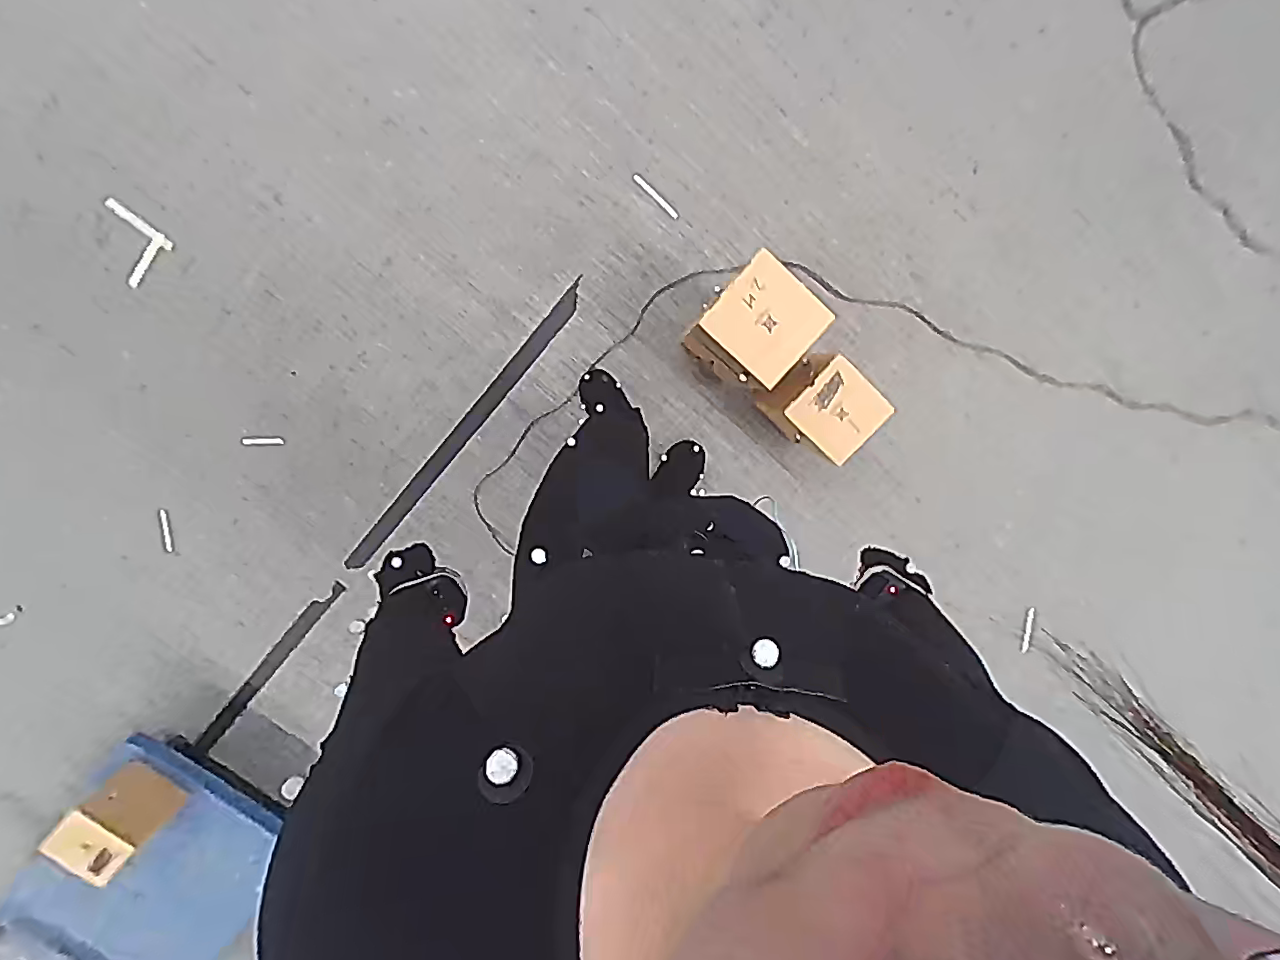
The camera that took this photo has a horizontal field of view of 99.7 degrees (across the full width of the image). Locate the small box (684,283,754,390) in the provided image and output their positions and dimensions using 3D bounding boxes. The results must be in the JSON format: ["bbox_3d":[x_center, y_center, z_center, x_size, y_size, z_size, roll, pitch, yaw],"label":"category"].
[{"bbox_3d":[0.214,-0.318,1.168,0.179,0.176,0.168,40,99,-8],"label":"small box"}]

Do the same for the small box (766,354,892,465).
[{"bbox_3d":[0.410,-0.160,1.205,0.179,0.176,0.168,41,99,-10],"label":"small box"}]

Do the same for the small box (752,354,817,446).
[{"bbox_3d":[0.409,-0.198,1.365,0.179,0.176,0.168,43,98,-10],"label":"small box"}]

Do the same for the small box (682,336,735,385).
[{"bbox_3d":[0.217,-0.354,1.328,0.168,0.176,0.179,41,99,-8],"label":"small box"}]

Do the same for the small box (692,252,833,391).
[{"bbox_3d":[0.217,-0.287,1.005,0.179,0.176,0.168,41,98,-7],"label":"small box"}]
